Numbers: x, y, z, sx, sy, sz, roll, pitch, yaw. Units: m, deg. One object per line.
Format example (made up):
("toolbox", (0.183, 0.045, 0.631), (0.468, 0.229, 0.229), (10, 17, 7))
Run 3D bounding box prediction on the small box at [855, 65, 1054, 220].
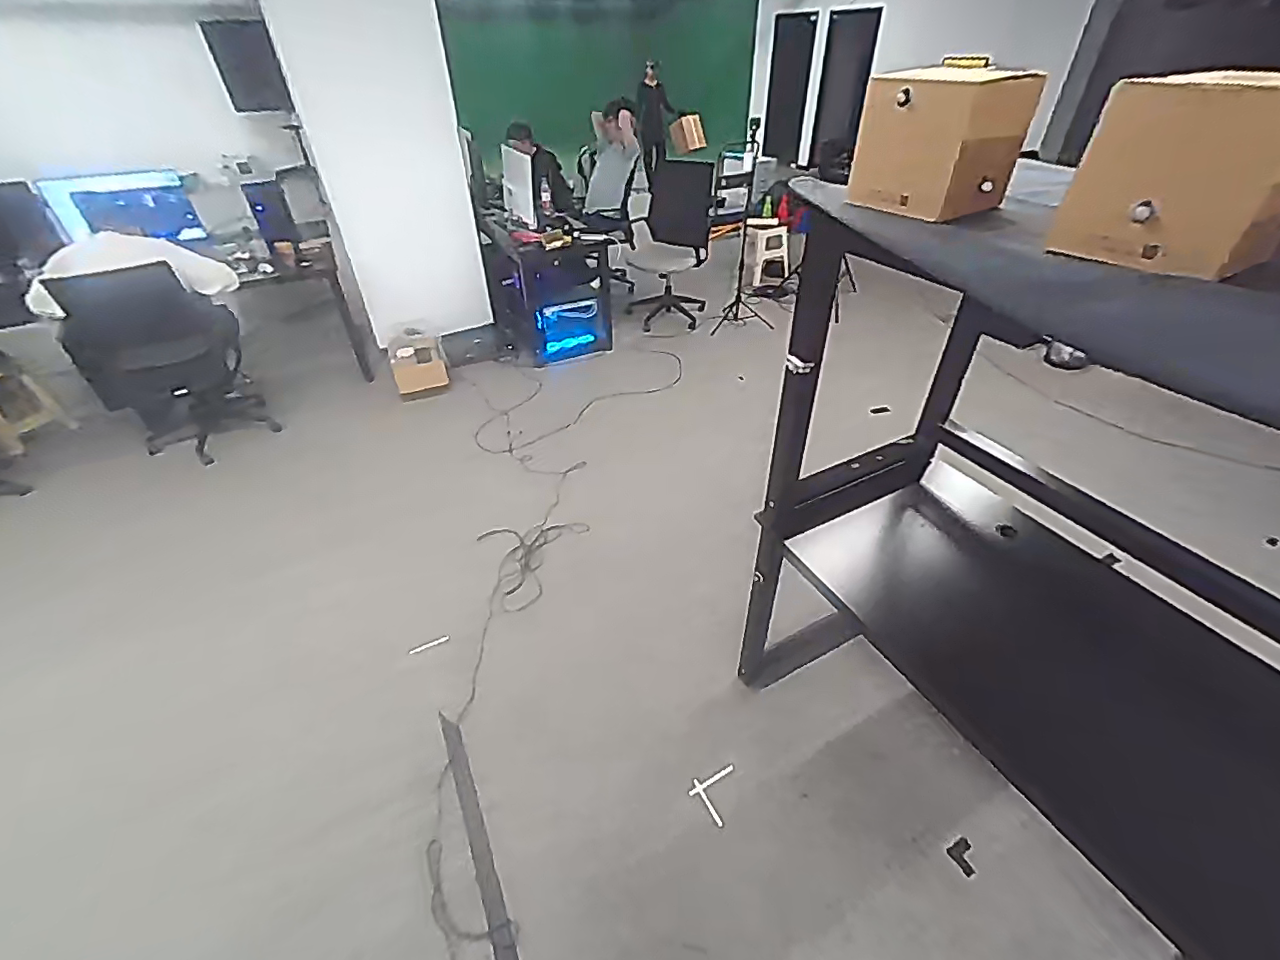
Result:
("small box", (0.446, -0.499, 0.795), (0.179, 0.176, 0.168), (-25, 45, -26))
